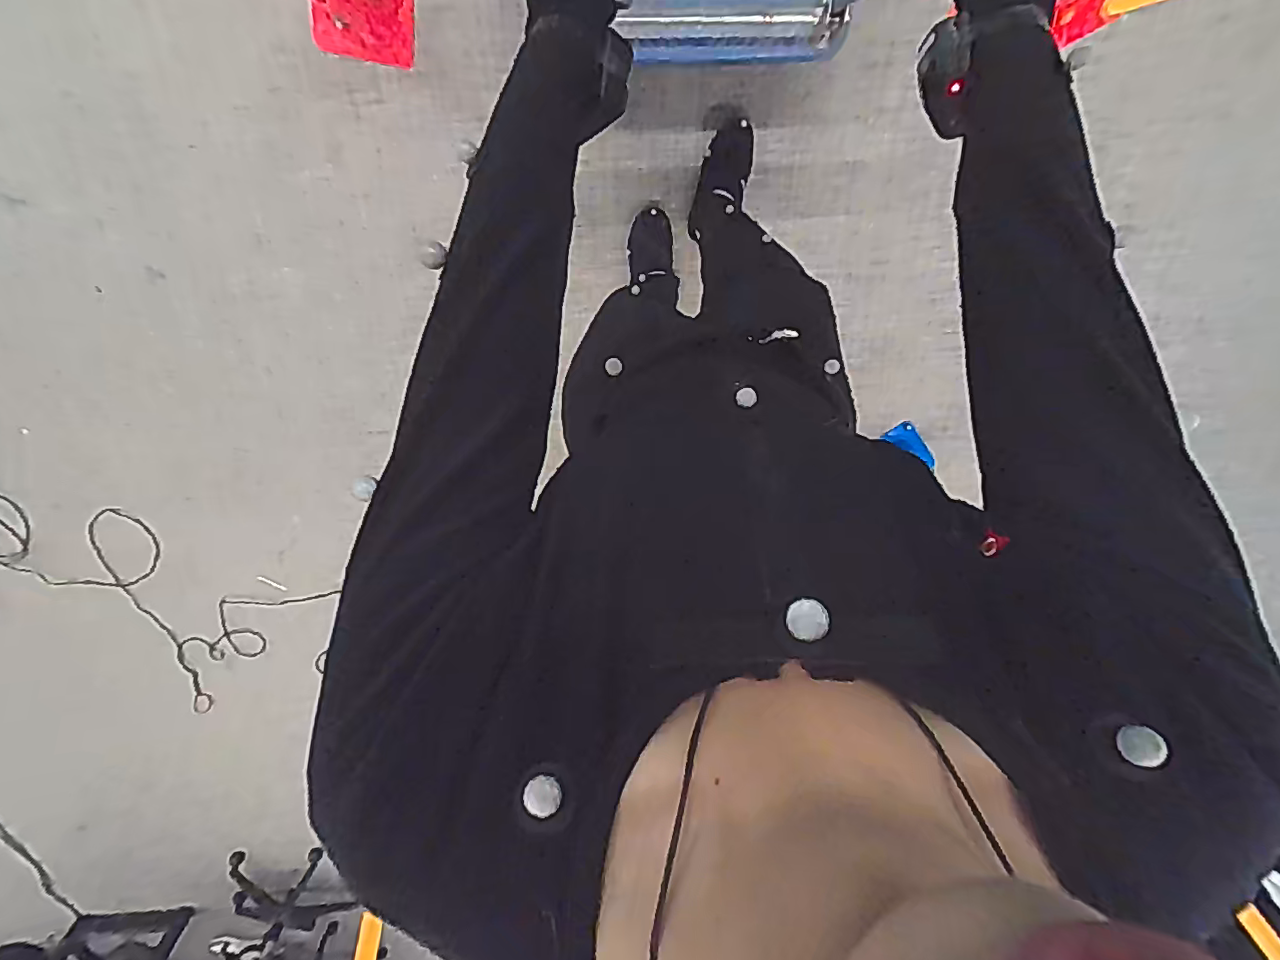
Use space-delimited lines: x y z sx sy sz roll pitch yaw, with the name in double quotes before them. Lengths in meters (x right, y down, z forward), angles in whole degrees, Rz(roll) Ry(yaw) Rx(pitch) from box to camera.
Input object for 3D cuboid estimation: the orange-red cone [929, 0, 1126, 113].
"orange-red cone" 0.735 -0.821 0.992 0.198 0.360 0.199 7 119 -5
